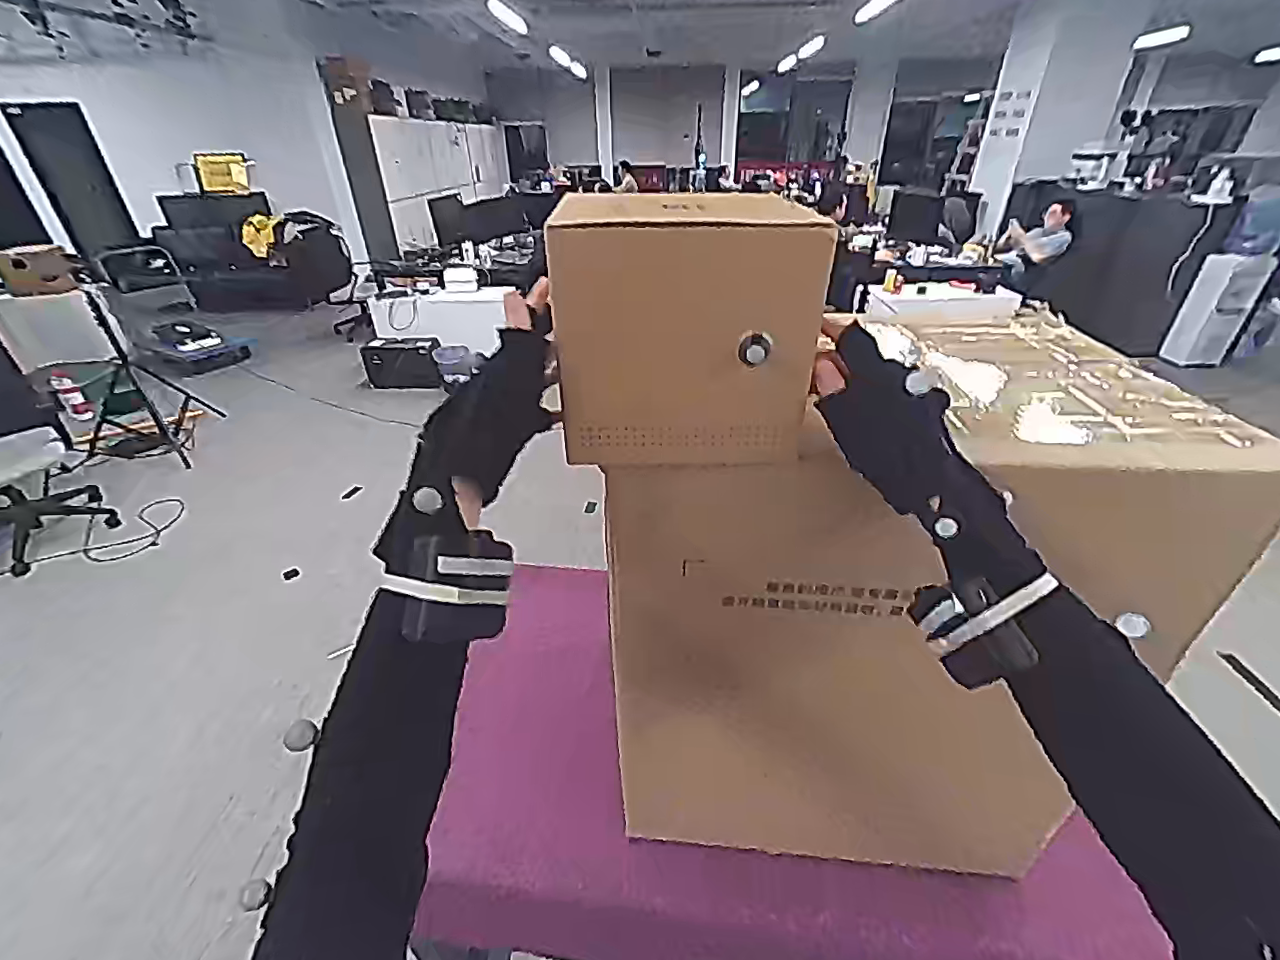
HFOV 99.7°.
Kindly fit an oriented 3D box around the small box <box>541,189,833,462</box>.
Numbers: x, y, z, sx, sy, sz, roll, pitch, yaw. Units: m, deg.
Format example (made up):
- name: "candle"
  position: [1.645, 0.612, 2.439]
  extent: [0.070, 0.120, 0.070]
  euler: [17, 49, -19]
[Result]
- name: "small box"
  position: [0.027, -0.124, 0.426]
  extent: [0.179, 0.176, 0.168]
  euler: [-2, 32, -1]
